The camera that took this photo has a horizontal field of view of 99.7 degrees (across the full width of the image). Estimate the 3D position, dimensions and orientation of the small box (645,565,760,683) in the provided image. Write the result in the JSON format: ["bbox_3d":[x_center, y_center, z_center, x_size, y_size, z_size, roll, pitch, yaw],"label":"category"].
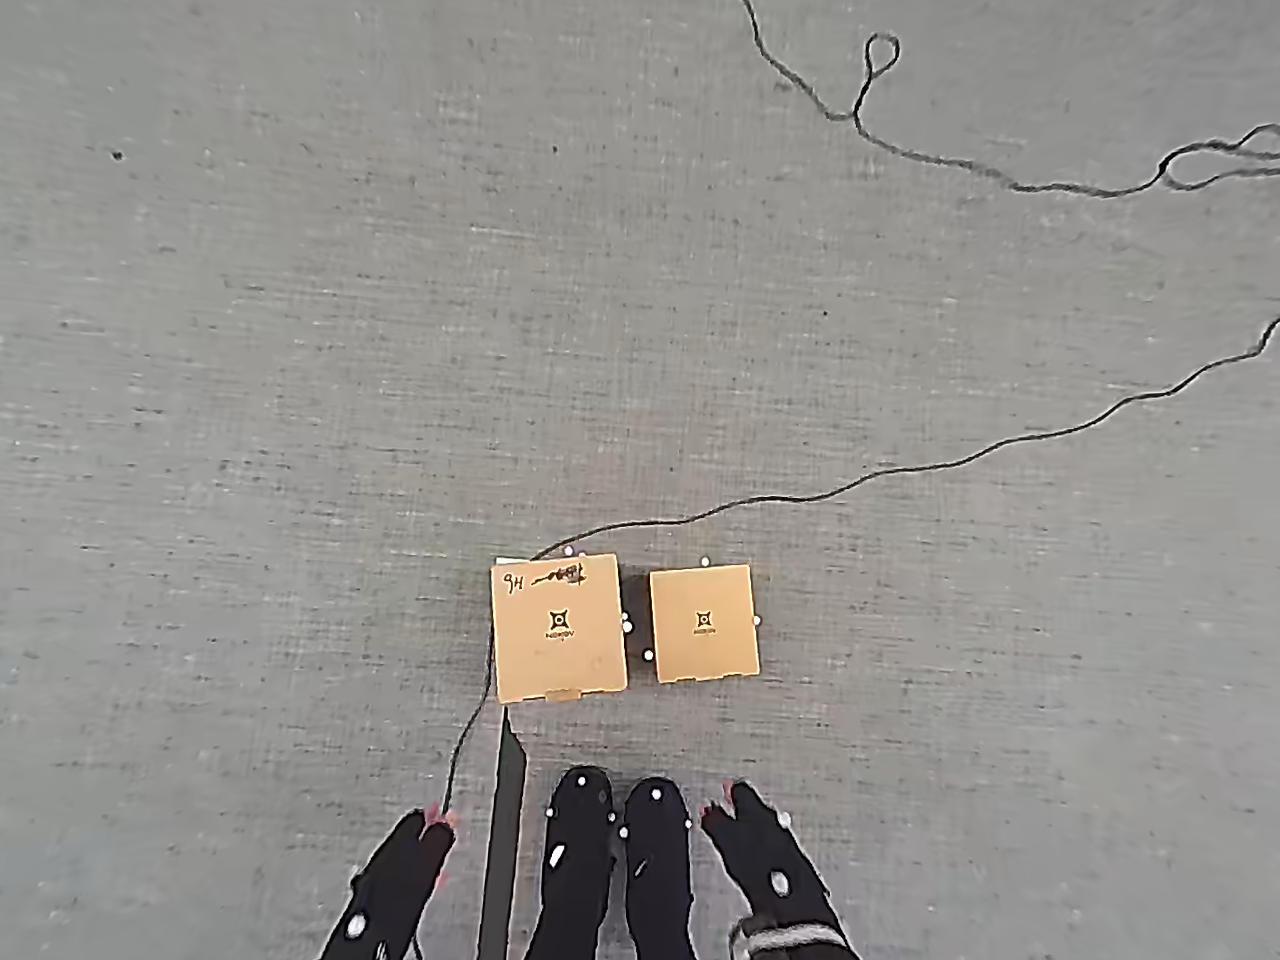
[{"bbox_3d":[0.099,0.241,0.942,0.168,0.176,0.179,-4,82,-3],"label":"small box"}]

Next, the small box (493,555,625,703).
[{"bbox_3d":[-0.108,0.200,0.772,0.168,0.176,0.179,-4,82,-4],"label":"small box"}]
